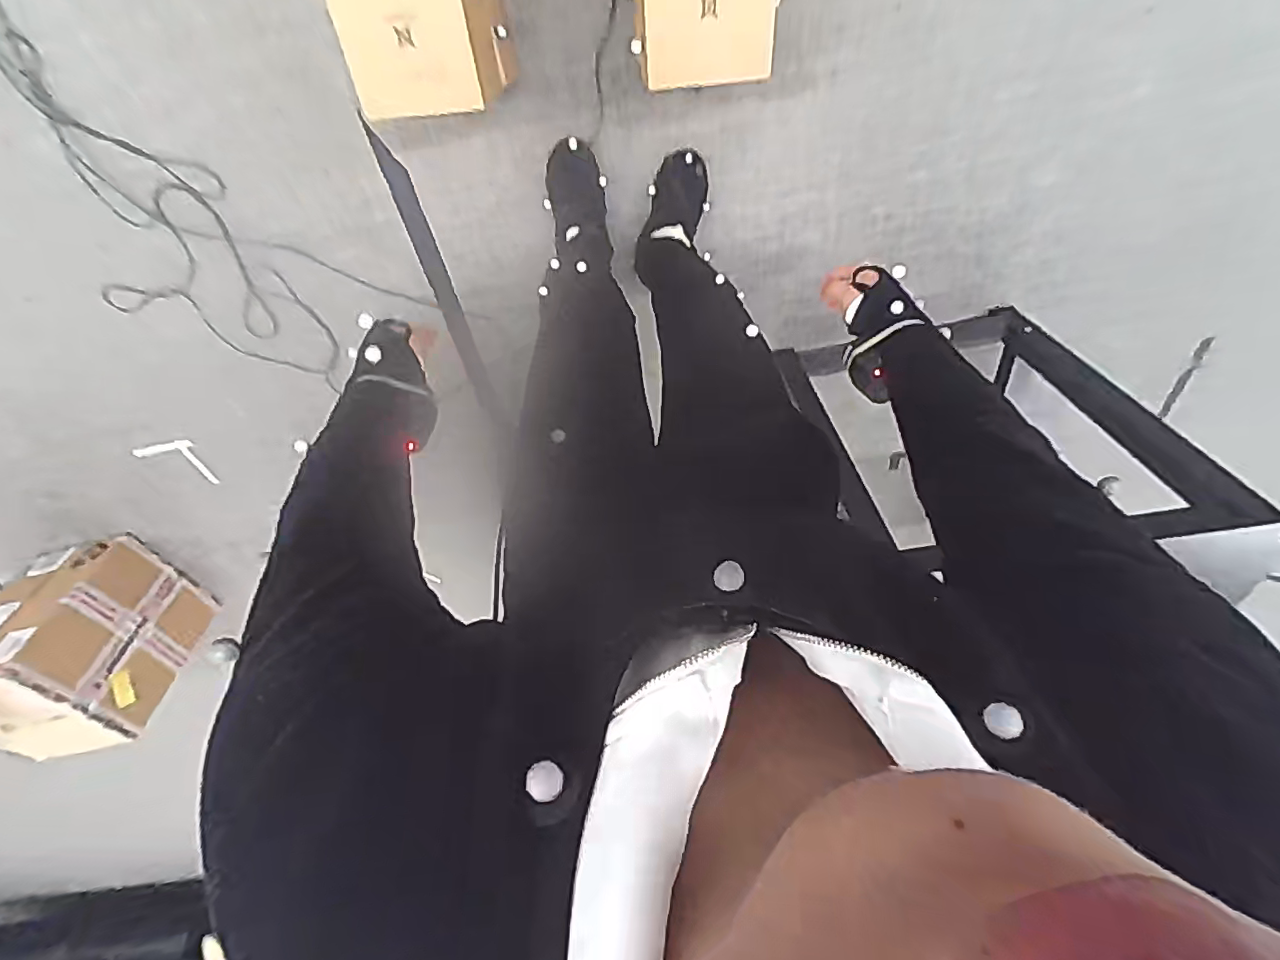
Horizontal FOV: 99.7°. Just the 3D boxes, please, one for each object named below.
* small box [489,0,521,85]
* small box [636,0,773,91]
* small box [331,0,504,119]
[{"bbox_3d":[-0.307,-0.724,0.868,0.179,0.176,0.168,-8,131,5],"label":"small box"},{"bbox_3d":[0.081,-0.650,0.733,0.168,0.176,0.179,-6,131,0],"label":"small box"},{"bbox_3d":[-0.297,-0.619,0.742,0.168,0.176,0.179,-5,132,2],"label":"small box"}]
